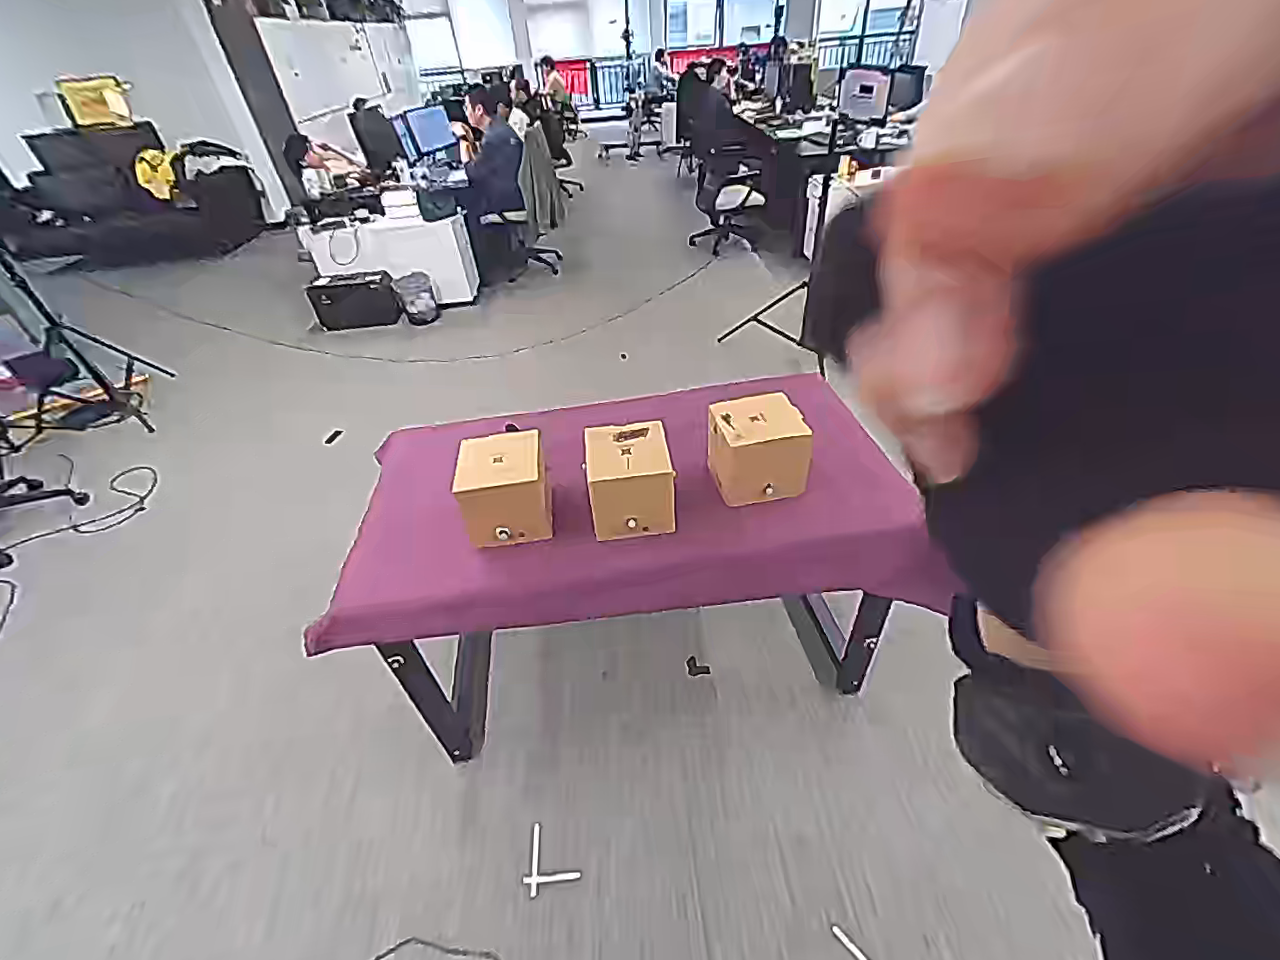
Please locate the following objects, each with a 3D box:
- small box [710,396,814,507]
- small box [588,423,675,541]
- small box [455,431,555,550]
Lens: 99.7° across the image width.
[{"bbox_3d":[0.257,-0.062,1.186,0.179,0.176,0.168,-9,39,-5],"label":"small box"},{"bbox_3d":[-0.019,0.004,1.135,0.168,0.176,0.179,-7,40,-2],"label":"small box"},{"bbox_3d":[-0.277,0.022,1.144,0.168,0.176,0.179,-9,40,-3],"label":"small box"}]
